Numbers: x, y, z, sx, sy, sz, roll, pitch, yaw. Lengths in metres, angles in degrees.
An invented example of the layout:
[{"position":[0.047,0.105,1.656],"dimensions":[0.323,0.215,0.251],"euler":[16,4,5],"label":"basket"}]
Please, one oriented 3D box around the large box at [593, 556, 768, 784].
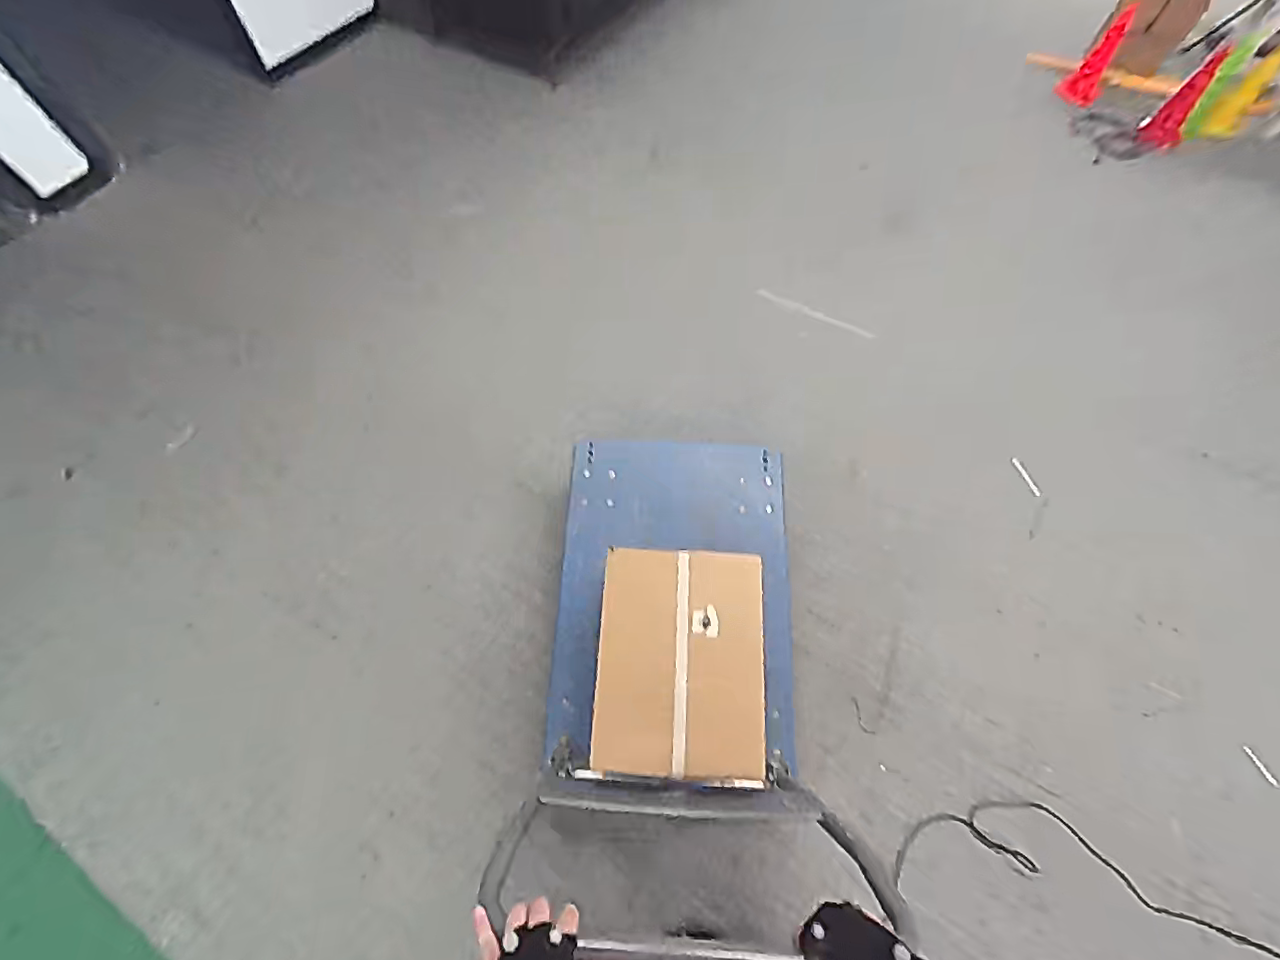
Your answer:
[{"position":[0.083,0.401,1.156],"dimensions":[0.320,0.320,0.408],"euler":[3,68,2],"label":"large box"}]
